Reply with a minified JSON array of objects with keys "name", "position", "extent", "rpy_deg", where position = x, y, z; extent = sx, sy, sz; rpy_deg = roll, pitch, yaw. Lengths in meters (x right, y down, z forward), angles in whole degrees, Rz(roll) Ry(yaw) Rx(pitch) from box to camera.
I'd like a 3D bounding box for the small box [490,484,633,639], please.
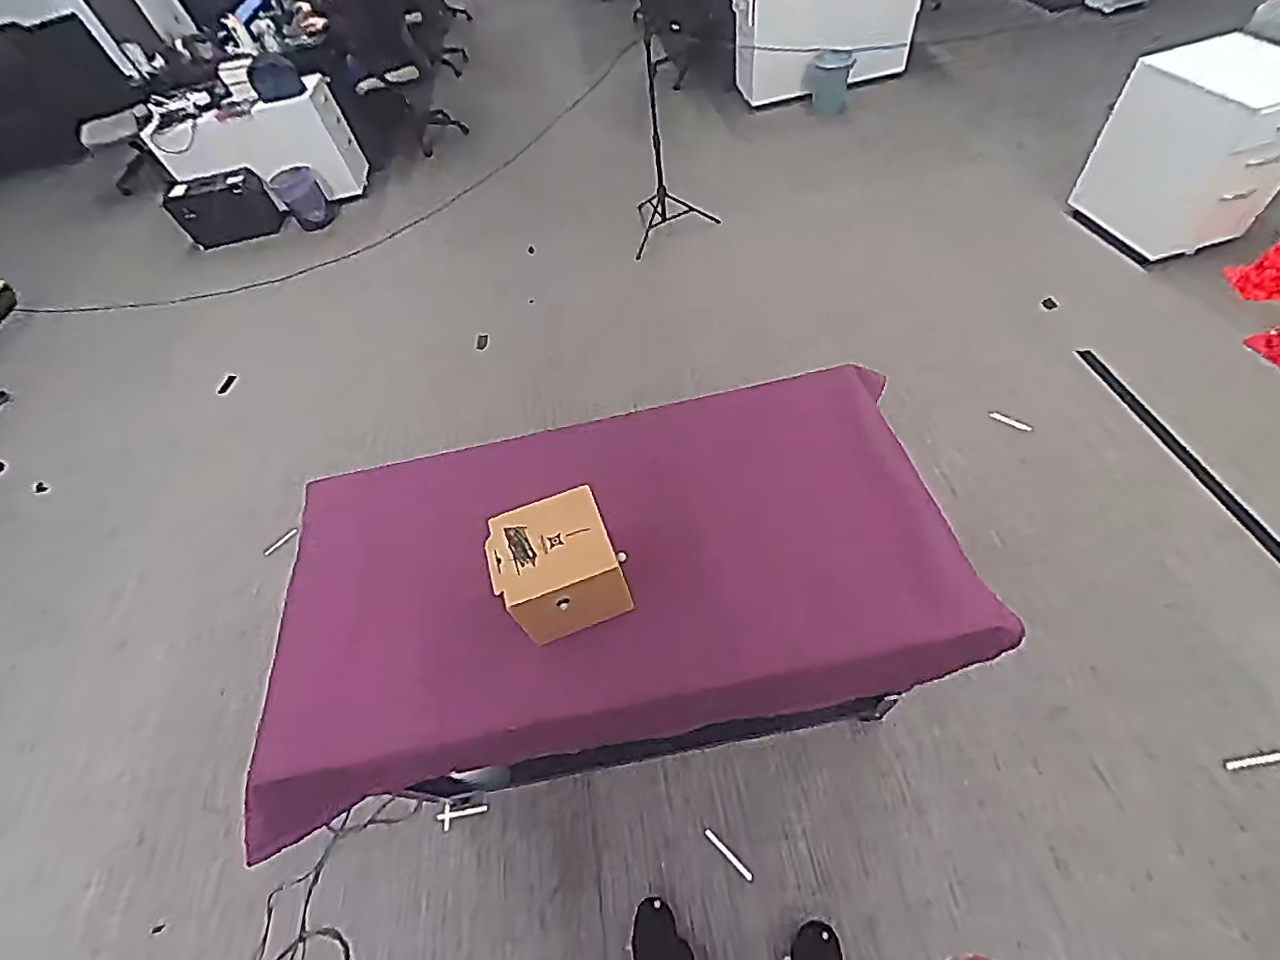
[{"name":"small box","position":[-0.126,0.141,0.900],"extent":[0.179,0.176,0.168],"rpy_deg":[-20,55,-6]}]
